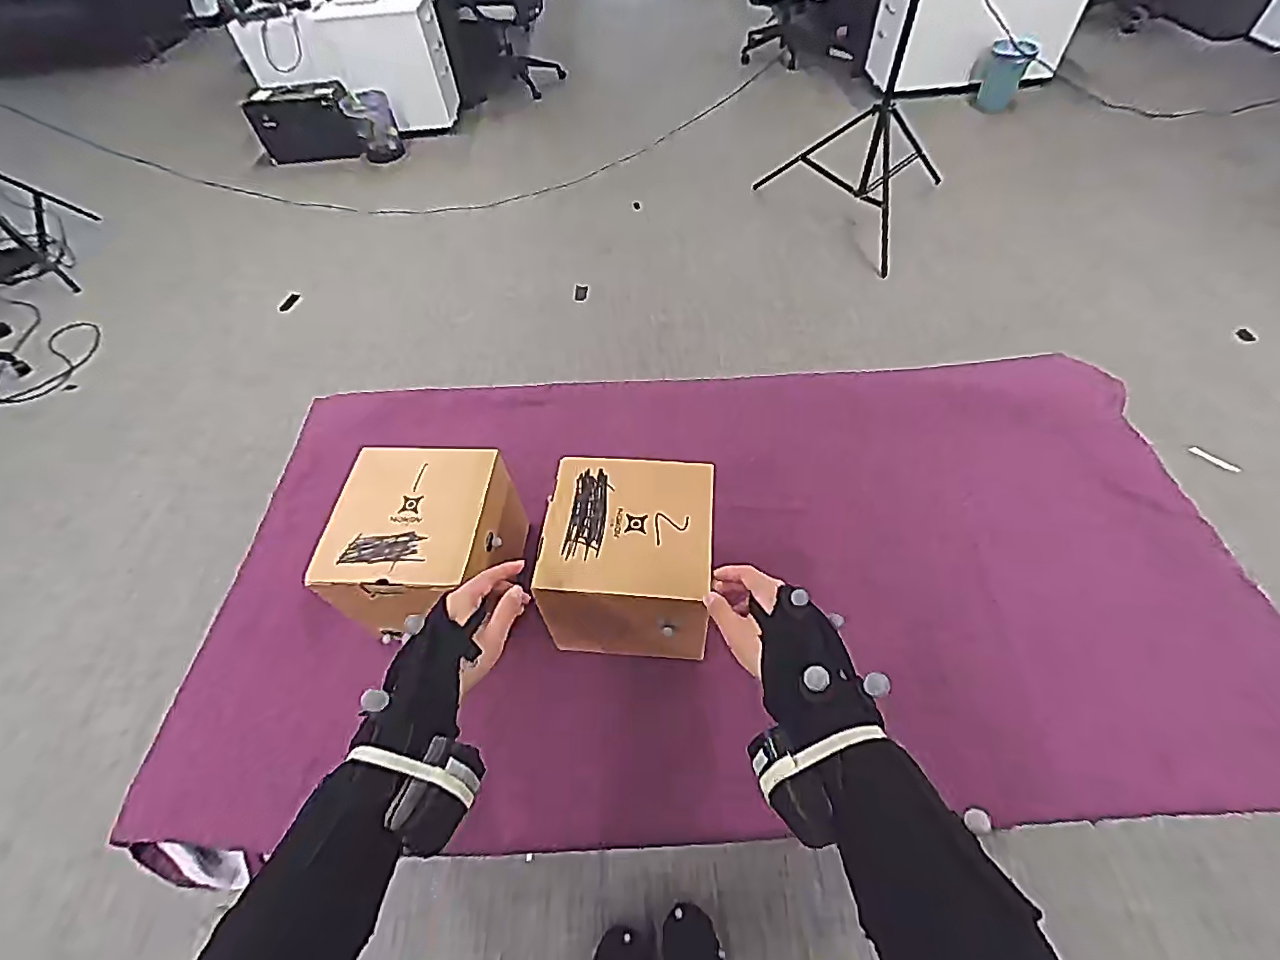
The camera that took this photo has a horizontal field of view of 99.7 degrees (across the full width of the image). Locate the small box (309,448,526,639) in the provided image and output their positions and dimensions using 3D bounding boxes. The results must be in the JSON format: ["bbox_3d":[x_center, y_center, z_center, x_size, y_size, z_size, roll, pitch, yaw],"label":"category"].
[{"bbox_3d":[-0.245,0.080,0.651,0.168,0.176,0.179,1,54,4],"label":"small box"}]
